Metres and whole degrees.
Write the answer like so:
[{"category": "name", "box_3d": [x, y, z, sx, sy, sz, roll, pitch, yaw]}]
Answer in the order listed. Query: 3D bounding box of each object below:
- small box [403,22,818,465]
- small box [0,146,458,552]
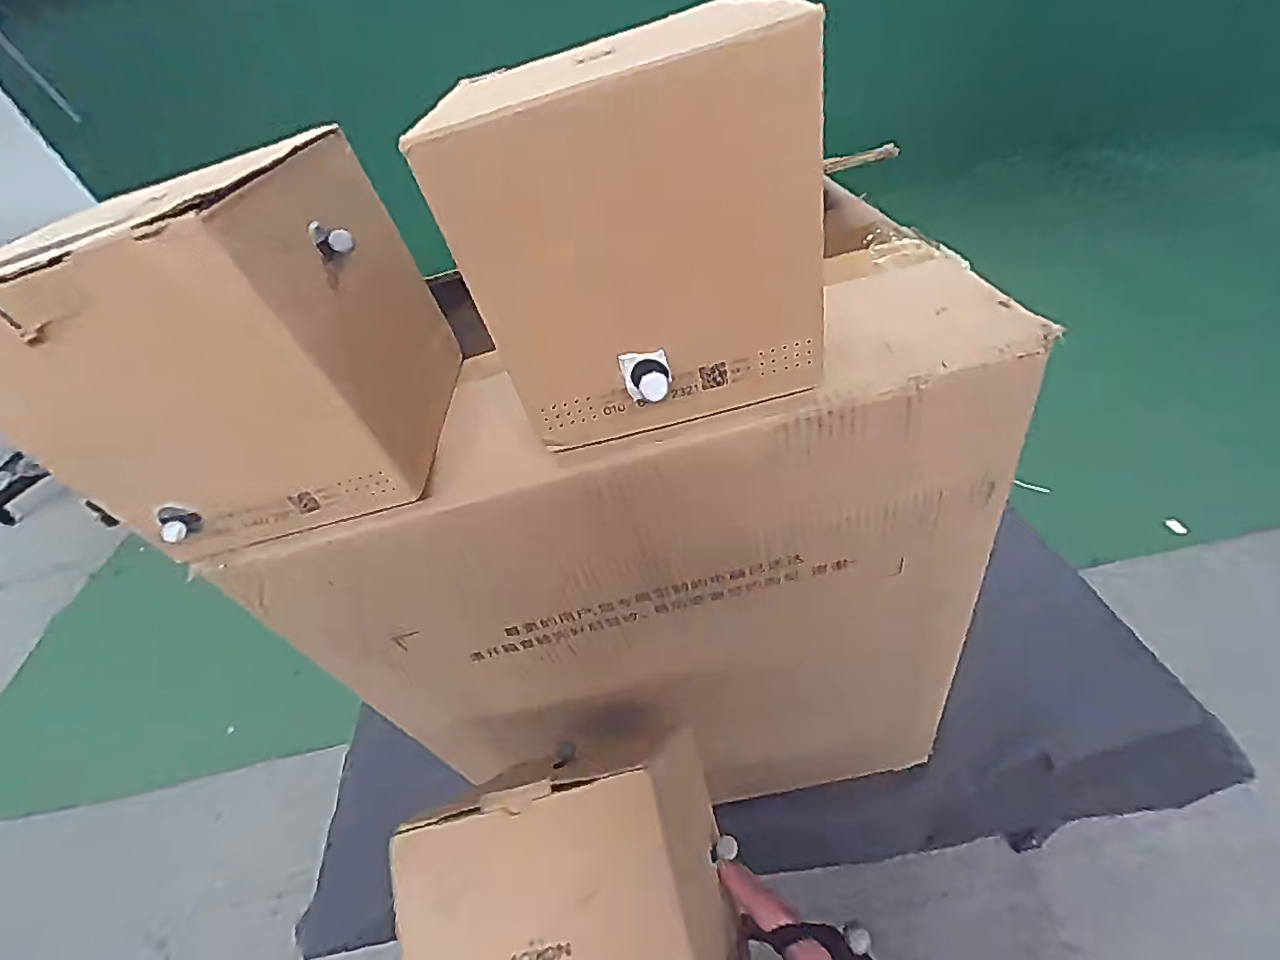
[{"category": "small box", "box_3d": [-0.004, -0.137, 0.319, 0.168, 0.176, 0.179, -15, 42, 5]}, {"category": "small box", "box_3d": [-0.235, -0.074, 0.337, 0.168, 0.176, 0.179, -14, 41, 7]}]
